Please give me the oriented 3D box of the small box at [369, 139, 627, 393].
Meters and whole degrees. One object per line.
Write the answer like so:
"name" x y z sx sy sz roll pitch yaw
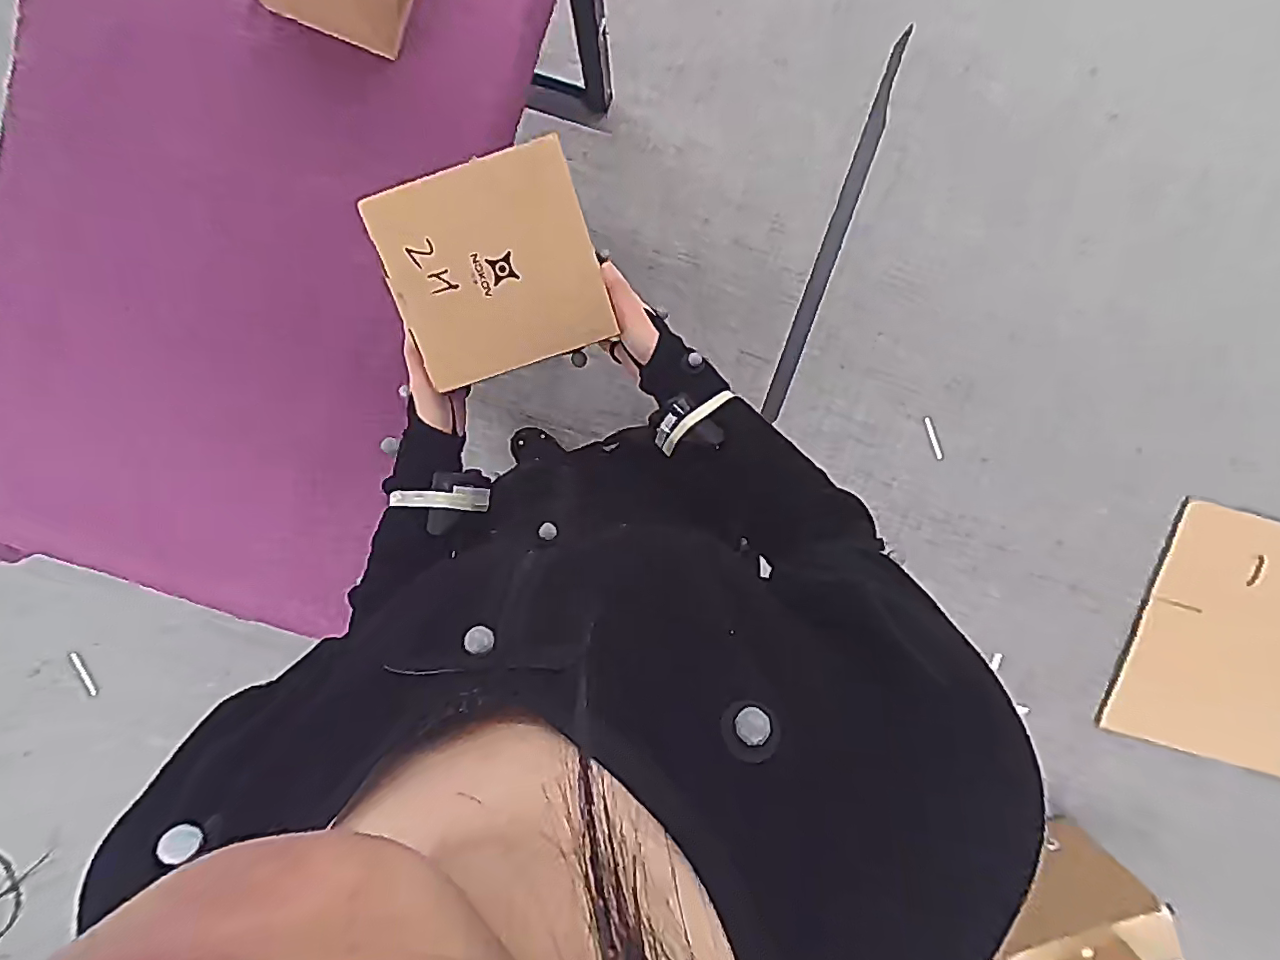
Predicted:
"small box" -0.120 -0.197 0.532 0.179 0.176 0.168 -17 105 2

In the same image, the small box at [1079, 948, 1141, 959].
"small box" 1.115 1.220 1.221 0.179 0.176 0.168 -22 94 4

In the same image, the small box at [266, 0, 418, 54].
"small box" -0.363 -0.632 0.604 0.179 0.176 0.168 21 96 -2
